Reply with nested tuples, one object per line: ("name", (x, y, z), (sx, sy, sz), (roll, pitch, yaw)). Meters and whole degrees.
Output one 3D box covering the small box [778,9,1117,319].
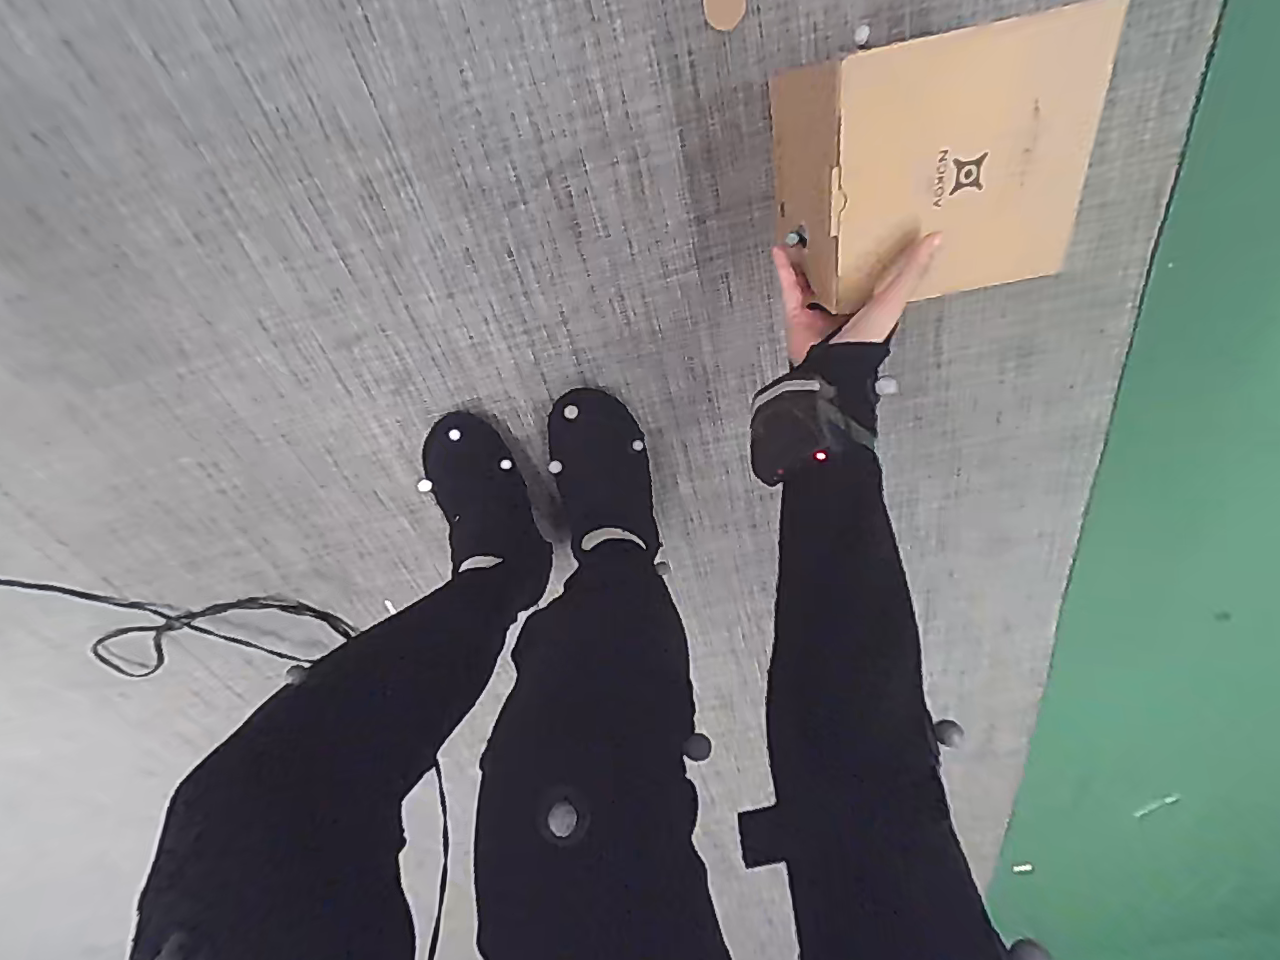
("small box", (0.216, -0.249, 0.443), (0.179, 0.176, 0.168), (-10, 124, 3))
